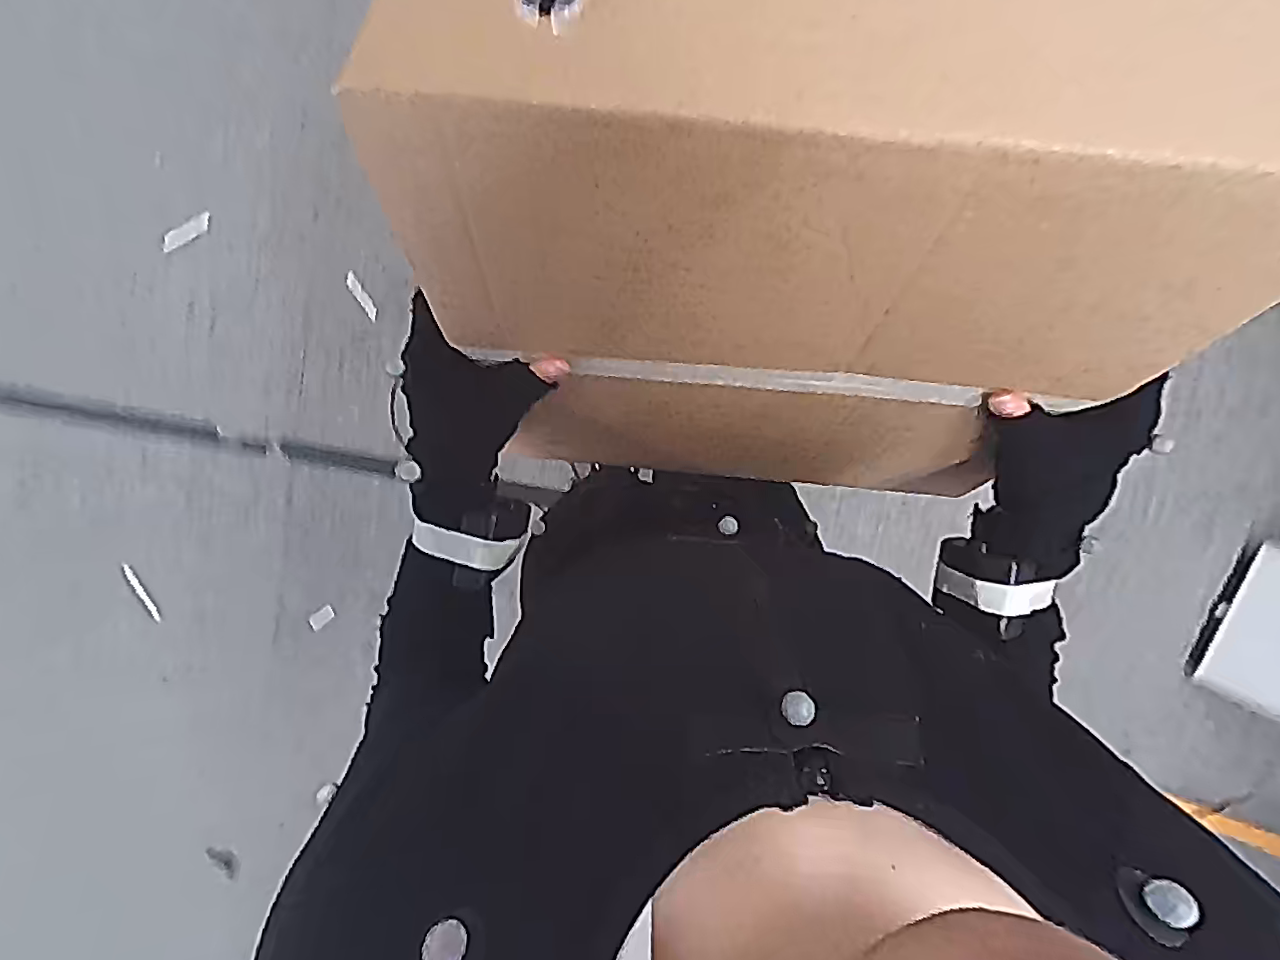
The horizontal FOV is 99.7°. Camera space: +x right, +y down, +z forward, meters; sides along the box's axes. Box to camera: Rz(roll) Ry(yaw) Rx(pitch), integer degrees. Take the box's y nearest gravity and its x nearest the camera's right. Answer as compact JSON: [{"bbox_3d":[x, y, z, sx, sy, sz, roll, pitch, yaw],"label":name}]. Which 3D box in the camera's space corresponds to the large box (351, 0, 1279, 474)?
[{"bbox_3d":[0.088,-0.213,0.399,0.408,0.320,0.320,3,68,-1],"label":"large box"}]
